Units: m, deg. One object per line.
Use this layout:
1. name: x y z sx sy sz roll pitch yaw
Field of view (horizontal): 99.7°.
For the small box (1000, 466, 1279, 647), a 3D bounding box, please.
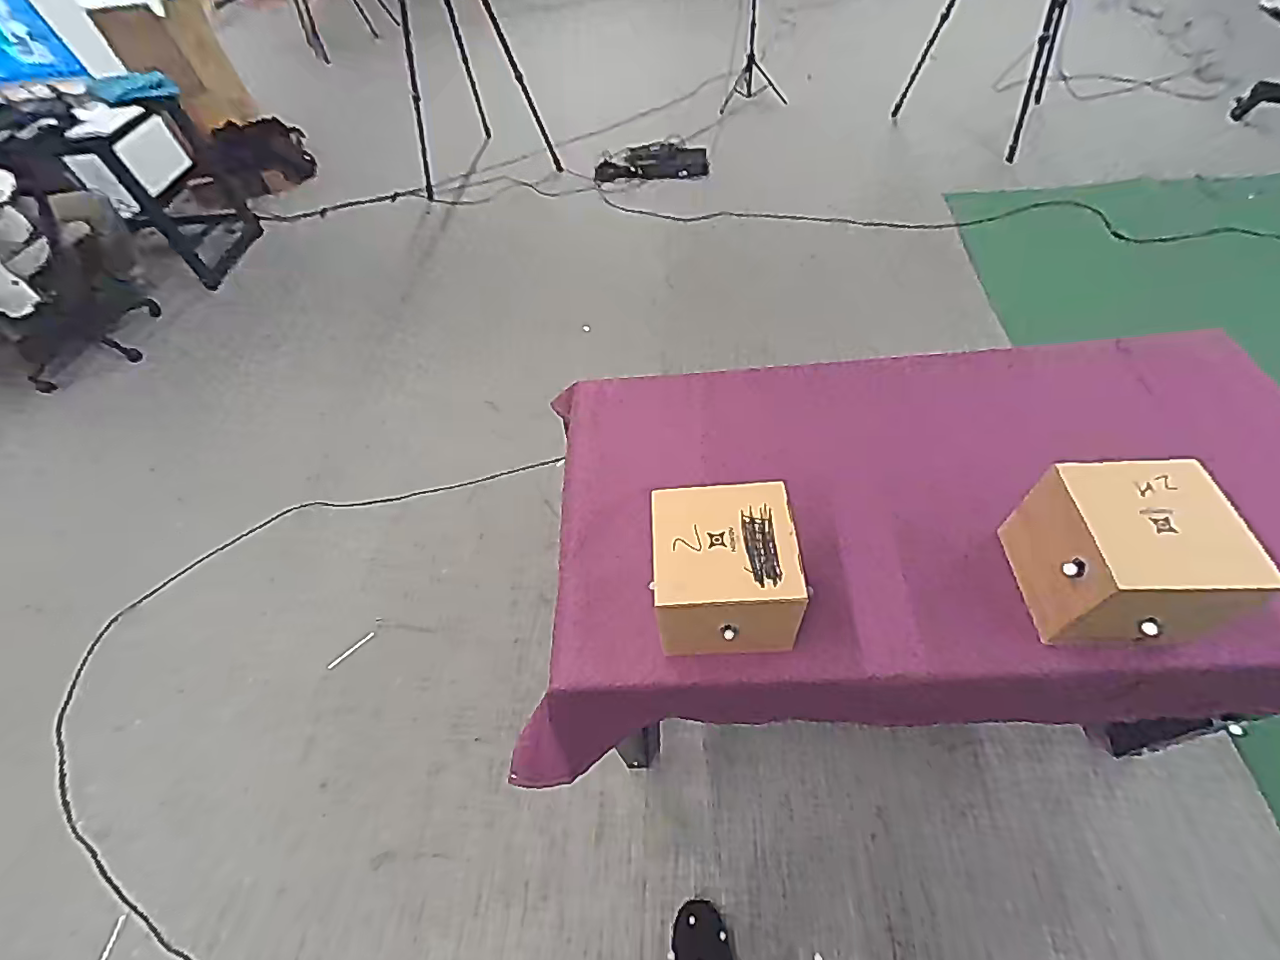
1. small box: 0.600 0.102 0.684 0.168 0.176 0.179 -1 53 6
